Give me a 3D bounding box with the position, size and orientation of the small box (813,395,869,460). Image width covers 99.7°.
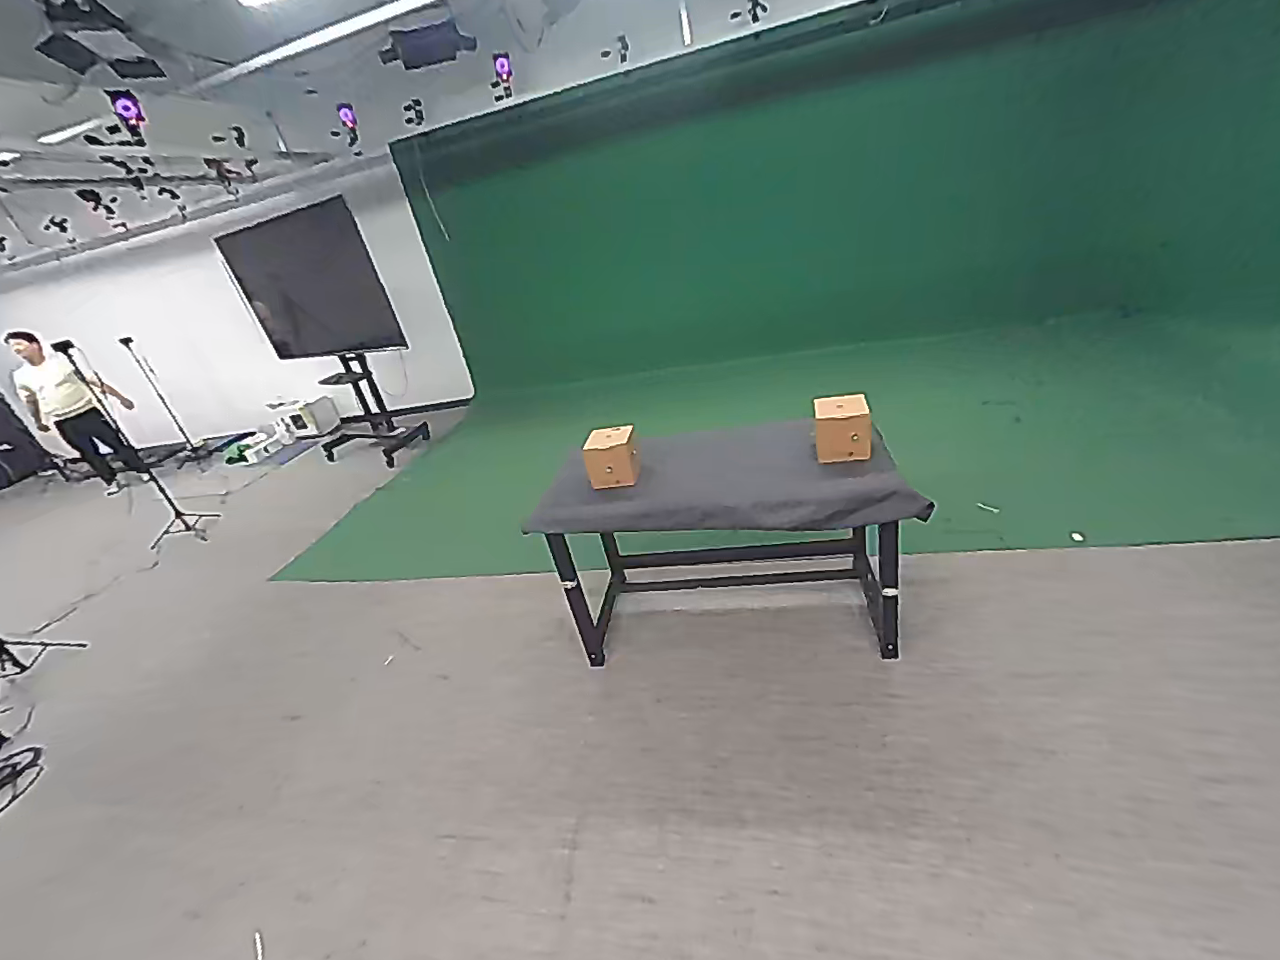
[{"bbox_3d":[0.687,-0.174,1.855,0.168,0.176,0.179,-4,27,16],"label":"small box"}]

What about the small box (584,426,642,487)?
[{"bbox_3d":[-0.095,-0.084,2.038,0.168,0.176,0.179,-6,28,12],"label":"small box"}]
